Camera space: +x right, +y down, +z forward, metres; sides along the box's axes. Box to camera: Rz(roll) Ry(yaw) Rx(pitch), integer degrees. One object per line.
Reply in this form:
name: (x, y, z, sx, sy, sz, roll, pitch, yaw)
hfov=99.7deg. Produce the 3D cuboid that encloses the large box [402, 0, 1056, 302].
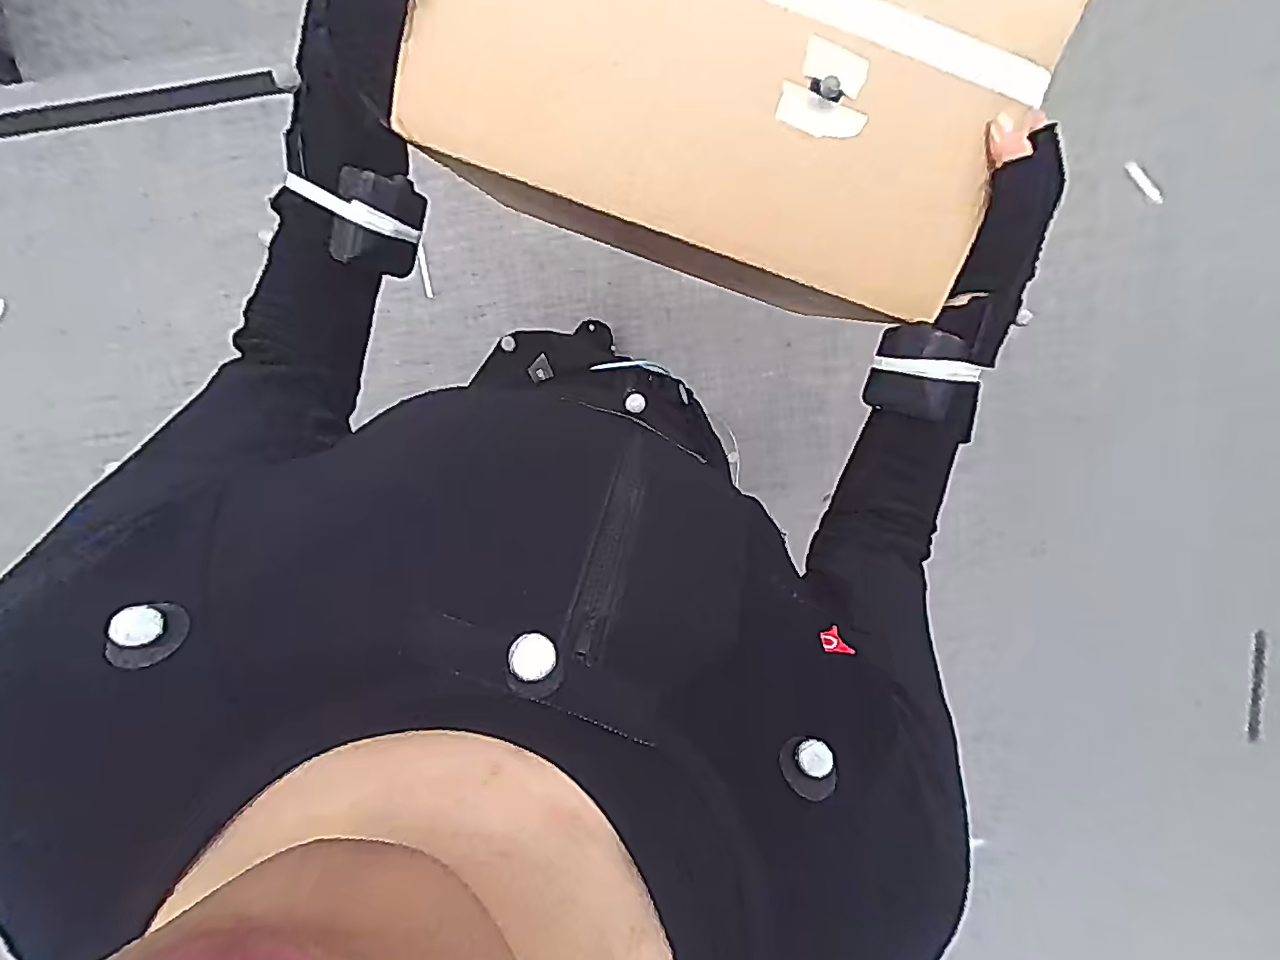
large box: (0.063, -0.372, 0.486, 0.408, 0.320, 0.320, 16, 109, -6)
